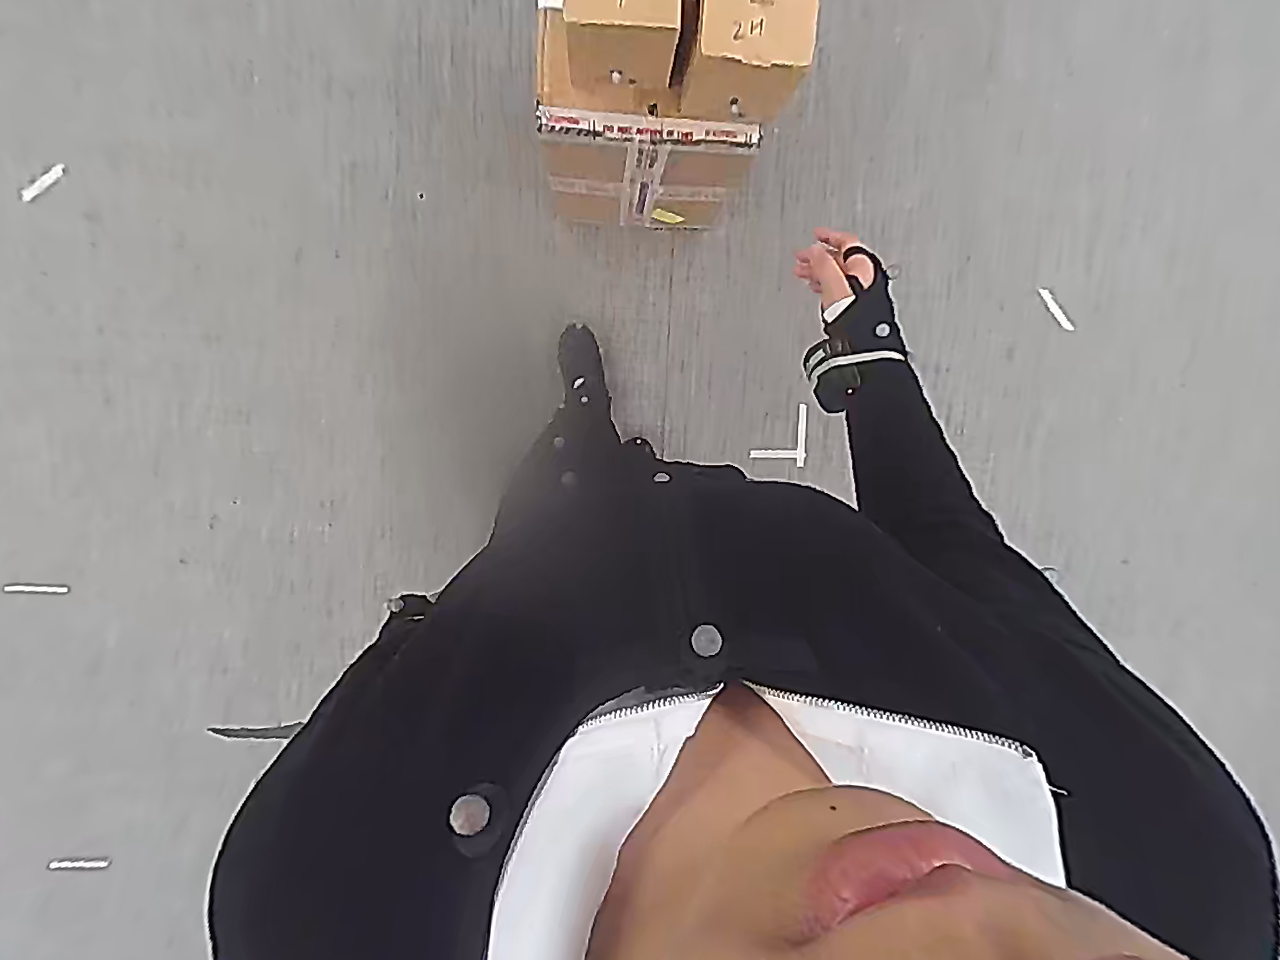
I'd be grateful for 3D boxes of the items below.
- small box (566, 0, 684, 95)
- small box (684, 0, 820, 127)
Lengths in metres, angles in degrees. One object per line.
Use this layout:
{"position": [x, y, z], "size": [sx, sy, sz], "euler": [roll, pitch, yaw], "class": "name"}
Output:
{"position": [-0.024, -0.725, 0.817], "size": [0.168, 0.176, 0.179], "euler": [0, 101, -3], "class": "small box"}
{"position": [0.165, -0.688, 0.837], "size": [0.168, 0.176, 0.179], "euler": [2, 99, -6], "class": "small box"}
